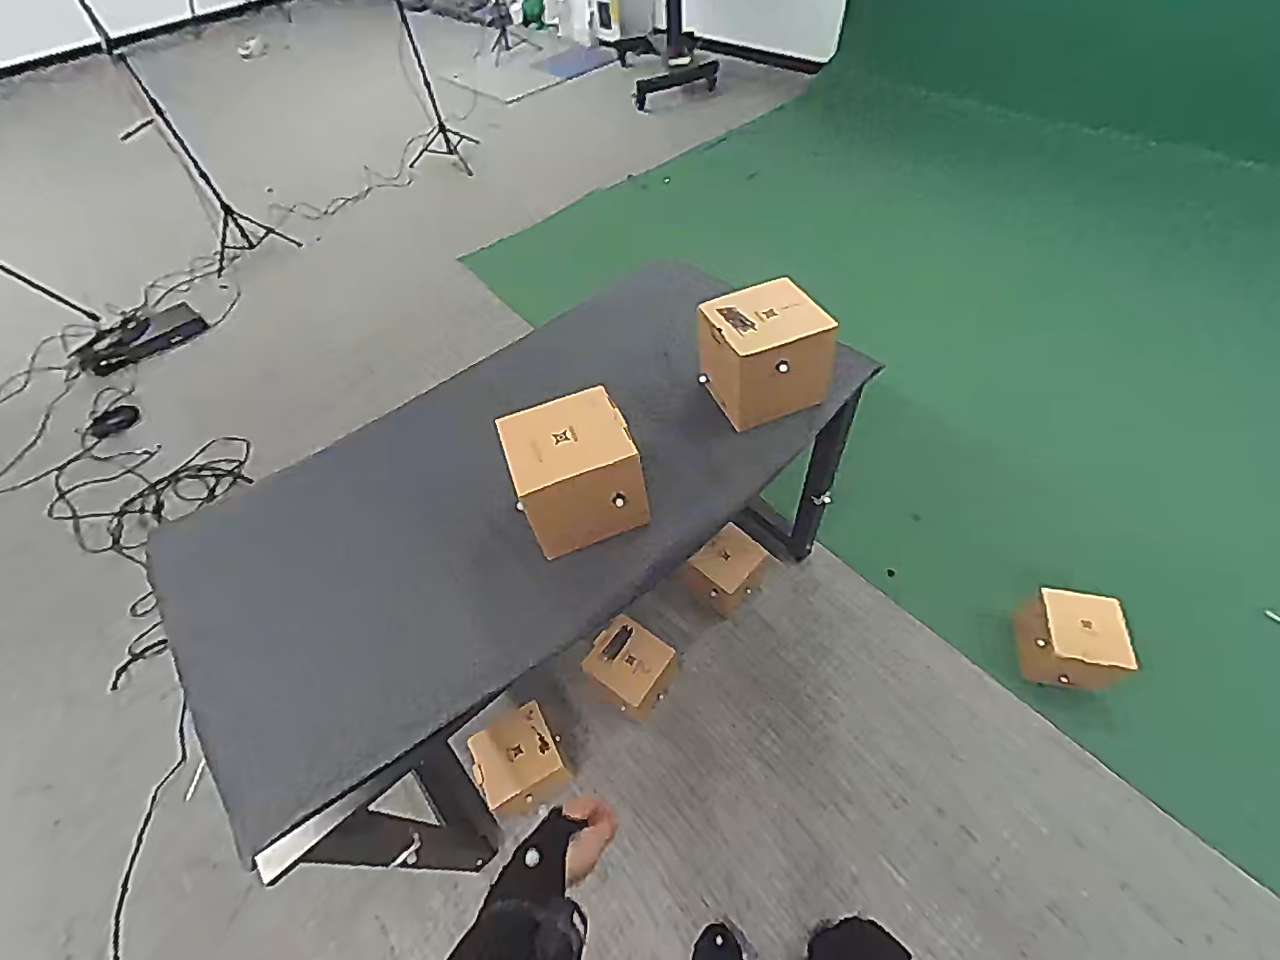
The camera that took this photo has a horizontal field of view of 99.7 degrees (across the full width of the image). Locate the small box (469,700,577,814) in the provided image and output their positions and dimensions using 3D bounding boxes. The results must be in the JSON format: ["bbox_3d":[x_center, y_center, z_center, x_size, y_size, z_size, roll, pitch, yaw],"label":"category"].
[{"bbox_3d":[-0.270,0.656,1.272,0.179,0.176,0.168,-27,55,-13],"label":"small box"}]

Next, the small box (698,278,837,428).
[{"bbox_3d":[0.217,-0.218,0.950,0.179,0.176,0.168,-20,51,-7],"label":"small box"}]

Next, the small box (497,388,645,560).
[{"bbox_3d":[-0.098,-0.007,0.834,0.179,0.176,0.168,-21,51,-8],"label":"small box"}]

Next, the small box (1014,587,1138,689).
[{"bbox_3d":[1.051,0.388,1.324,0.168,0.176,0.179,8,55,12],"label":"small box"}]

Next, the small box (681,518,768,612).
[{"bbox_3d":[0.235,0.247,1.517,0.179,0.176,0.168,35,64,28],"label":"small box"}]
